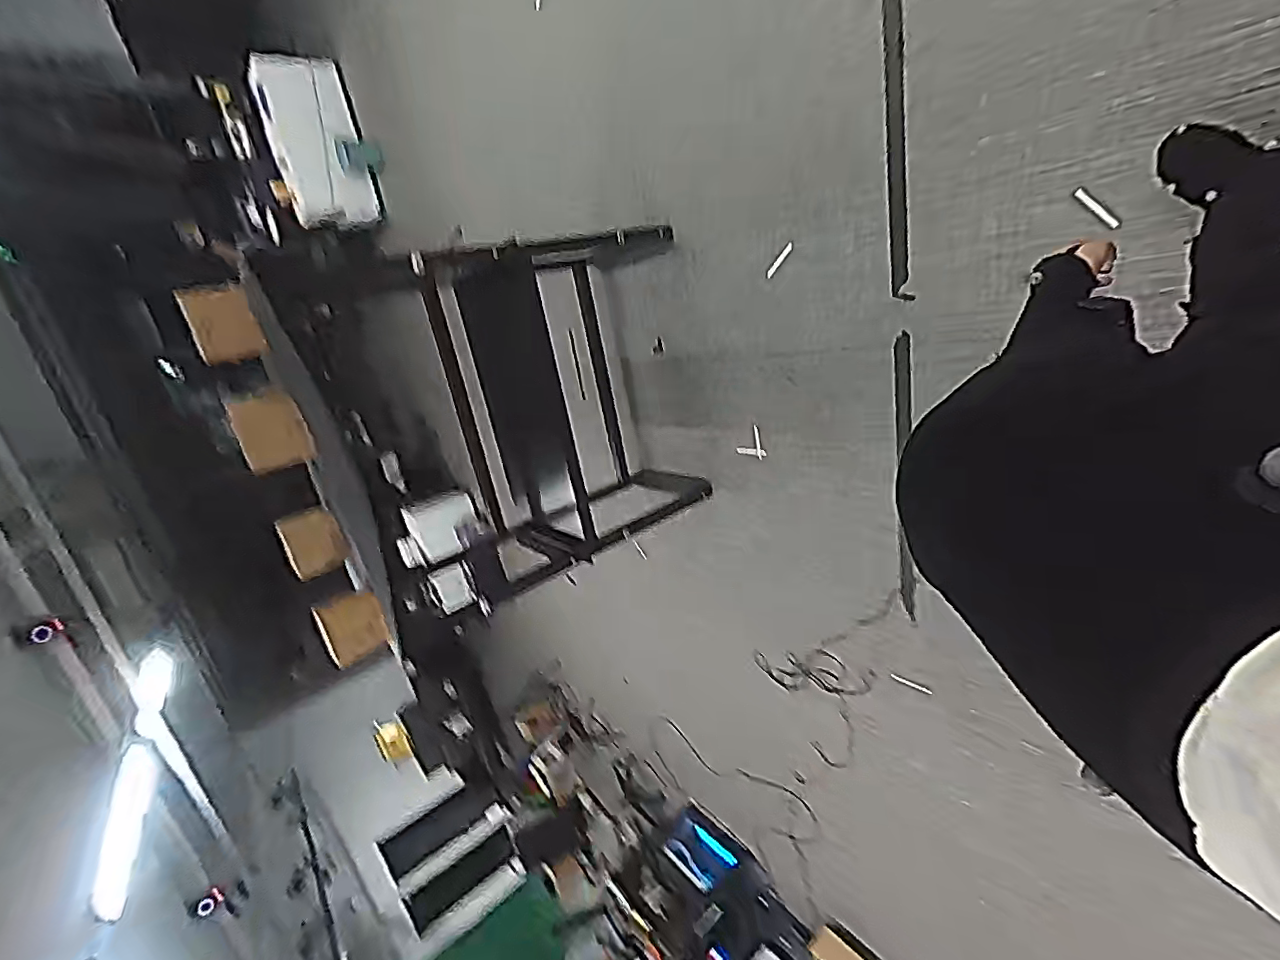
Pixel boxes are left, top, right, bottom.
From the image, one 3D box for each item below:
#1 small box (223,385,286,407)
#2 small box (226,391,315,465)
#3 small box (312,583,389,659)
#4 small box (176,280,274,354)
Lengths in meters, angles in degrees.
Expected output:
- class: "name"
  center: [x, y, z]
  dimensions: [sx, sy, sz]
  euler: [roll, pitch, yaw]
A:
- class: "small box"
  center: [-1.217, -0.206, 1.752]
  dimensions: [0.168, 0.176, 0.179]
  euler: [16, 122, 50]
- class: "small box"
  center: [-1.062, -0.156, 1.561]
  dimensions: [0.179, 0.176, 0.168]
  euler: [17, 123, 51]
- class: "small box"
  center: [-0.933, 0.448, 1.748]
  dimensions: [0.179, 0.176, 0.168]
  euler: [-2, 107, 53]
- class: "small box"
  center: [-1.124, -0.446, 1.473]
  dimensions: [0.179, 0.176, 0.168]
  euler: [18, 125, 50]
